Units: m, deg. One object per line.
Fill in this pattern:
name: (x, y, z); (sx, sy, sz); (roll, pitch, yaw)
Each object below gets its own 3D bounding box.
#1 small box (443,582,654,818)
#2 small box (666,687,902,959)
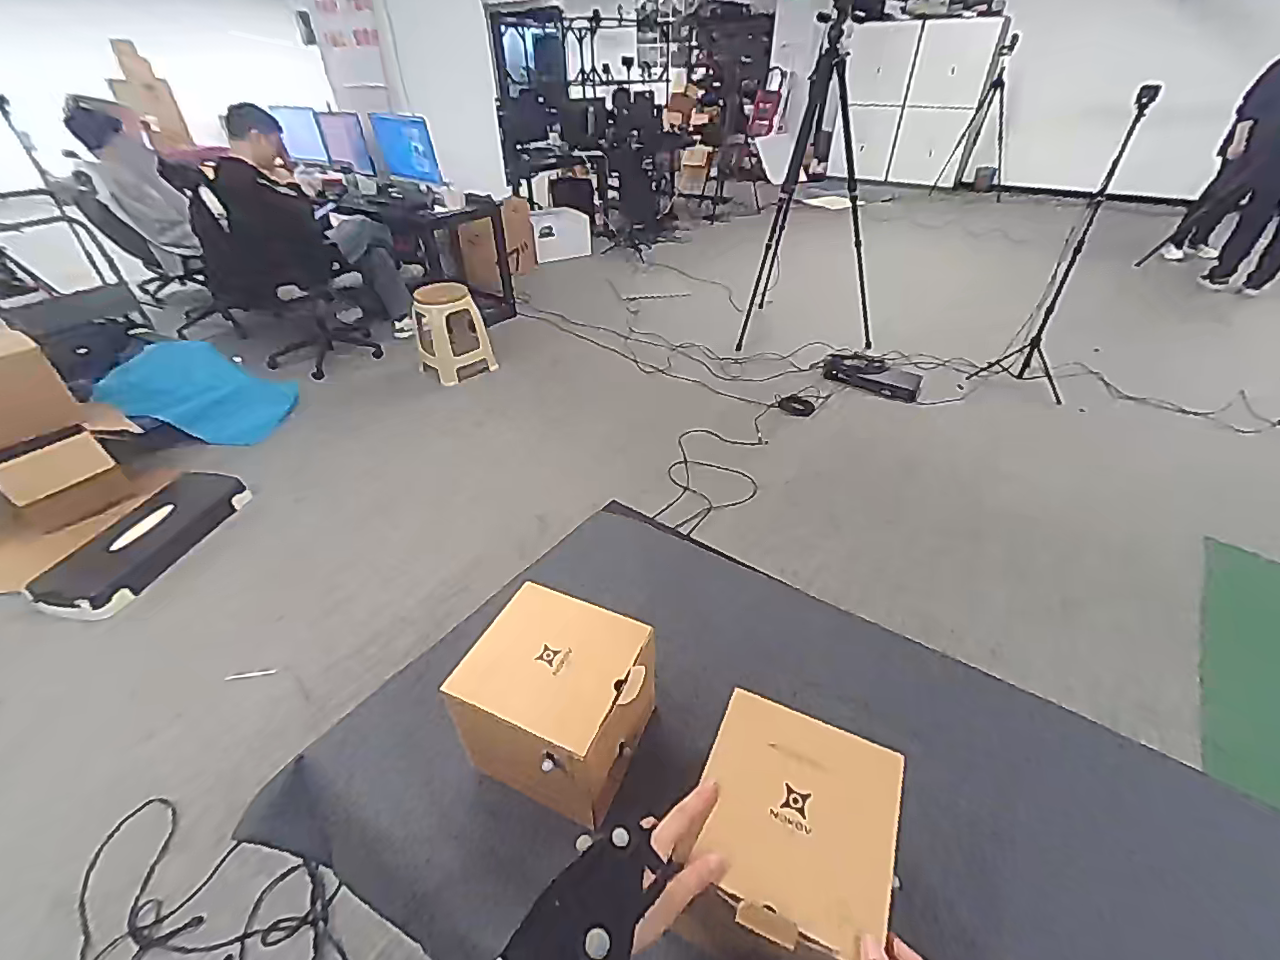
small box: (-0.095, 0.255, 0.635); (0.179, 0.176, 0.168); (15, 39, 19)
small box: (0.132, 0.344, 0.515); (0.168, 0.176, 0.179); (17, 39, 20)
